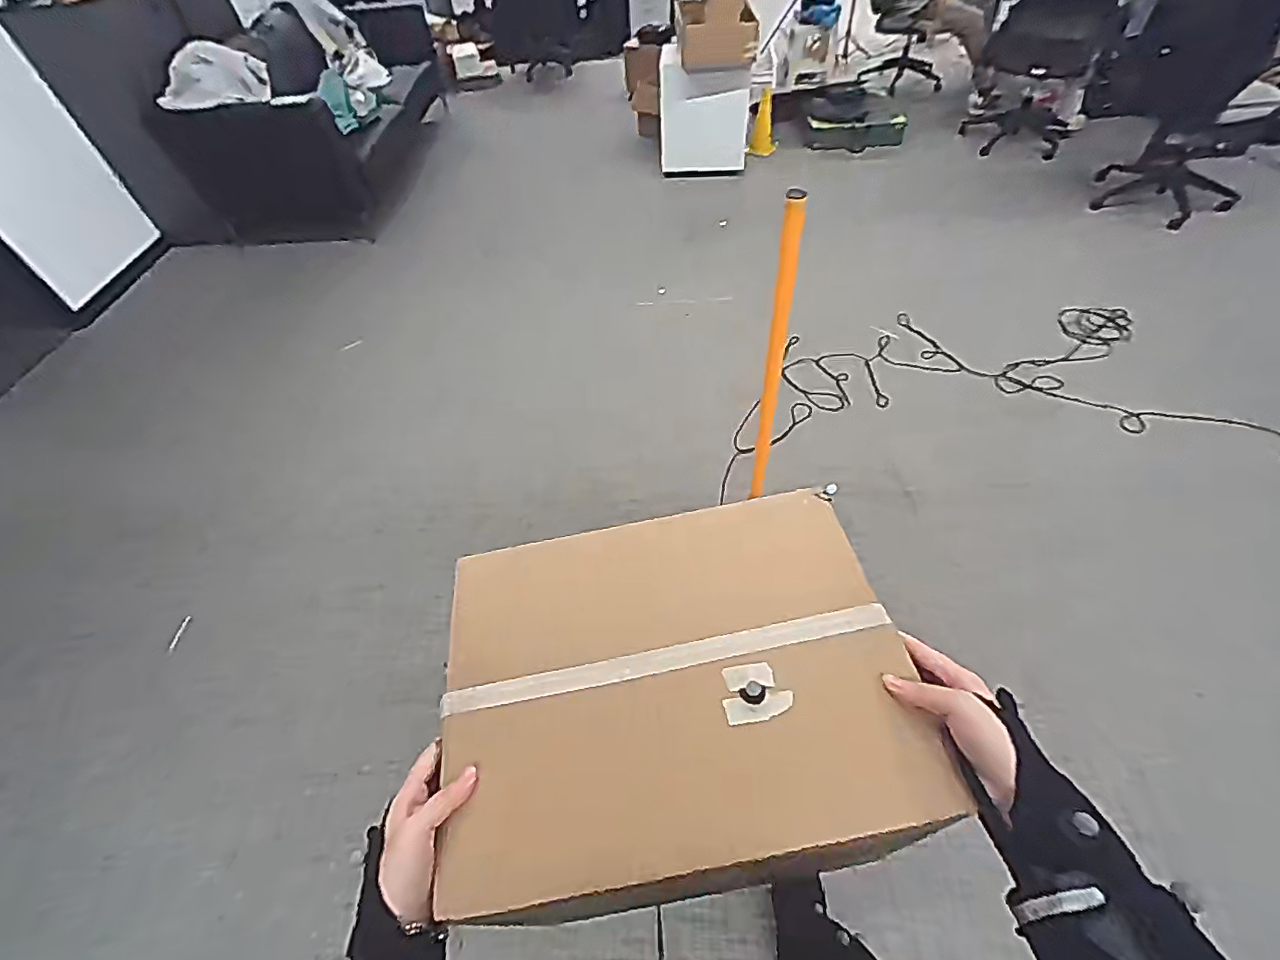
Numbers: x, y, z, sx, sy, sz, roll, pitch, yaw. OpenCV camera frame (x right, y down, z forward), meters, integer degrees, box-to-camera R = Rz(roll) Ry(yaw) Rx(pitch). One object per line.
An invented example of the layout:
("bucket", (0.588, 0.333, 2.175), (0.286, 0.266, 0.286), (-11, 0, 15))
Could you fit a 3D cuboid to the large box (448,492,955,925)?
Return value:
("large box", (0.037, 0.261, 0.612), (0.408, 0.320, 0.320), (-11, 50, -2))
